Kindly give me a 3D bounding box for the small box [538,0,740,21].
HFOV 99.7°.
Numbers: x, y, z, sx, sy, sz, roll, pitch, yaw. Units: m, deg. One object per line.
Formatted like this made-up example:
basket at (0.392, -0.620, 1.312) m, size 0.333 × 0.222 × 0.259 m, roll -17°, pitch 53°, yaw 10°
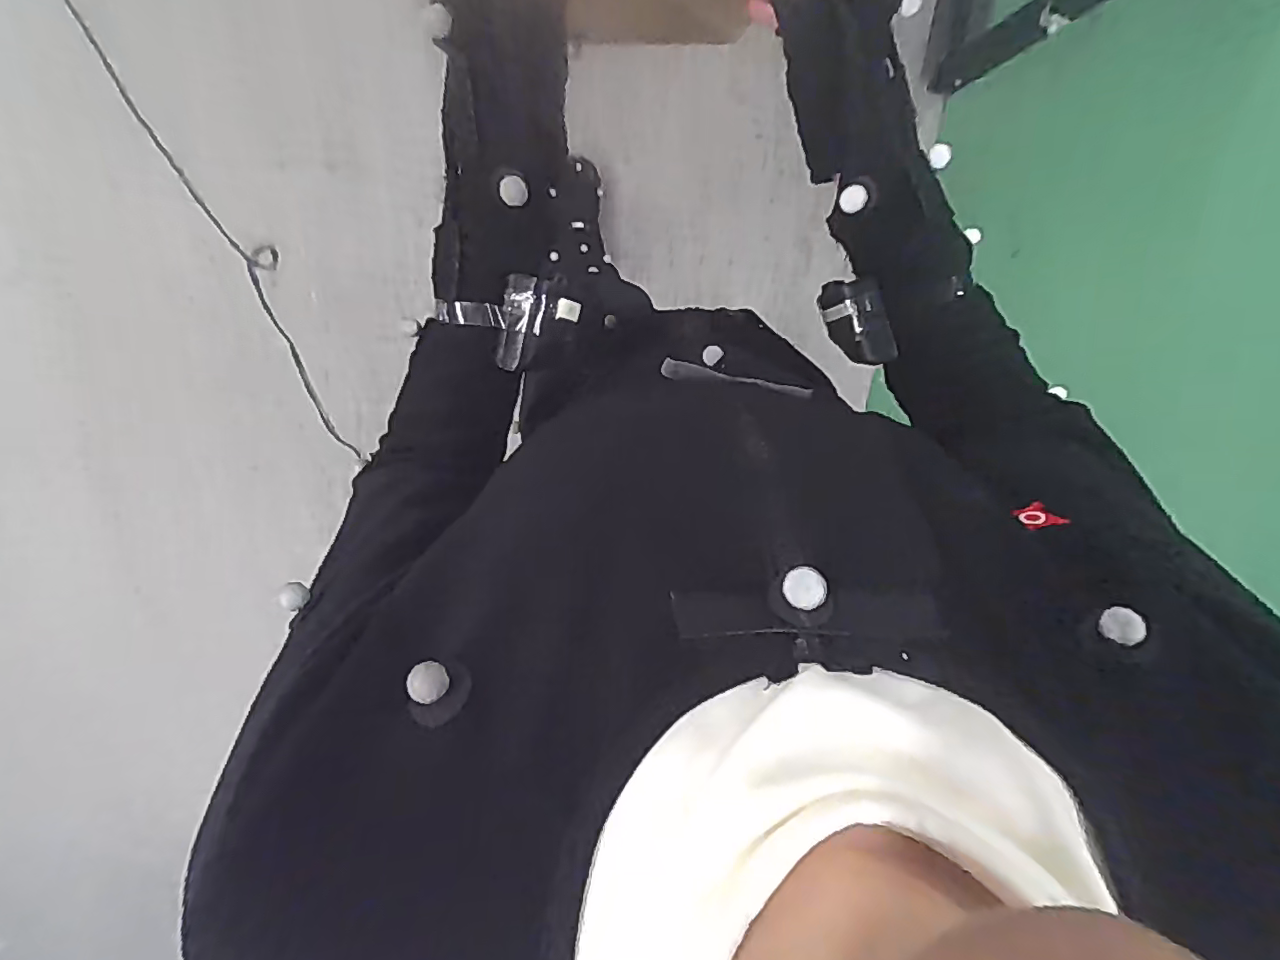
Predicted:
small box at (0.001, -0.409, 0.326) m, size 0.168 × 0.176 × 0.179 m, roll -3°, pitch 115°, yaw -4°
